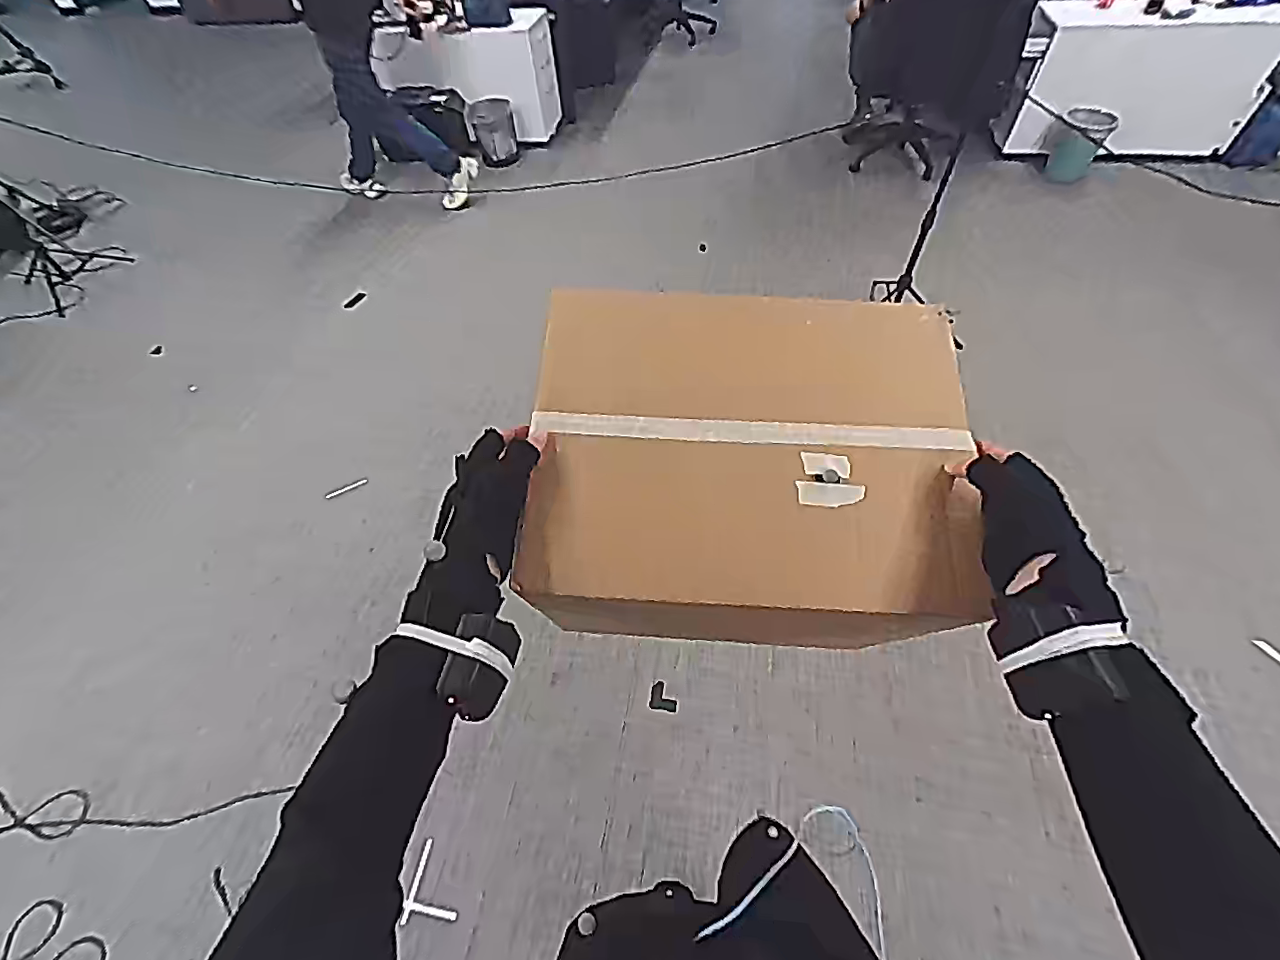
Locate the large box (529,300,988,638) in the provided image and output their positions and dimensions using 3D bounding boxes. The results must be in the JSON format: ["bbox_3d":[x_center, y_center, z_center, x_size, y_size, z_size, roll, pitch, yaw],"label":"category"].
[{"bbox_3d":[0.105,0.012,0.655,0.408,0.320,0.320,3,69,1],"label":"large box"}]
